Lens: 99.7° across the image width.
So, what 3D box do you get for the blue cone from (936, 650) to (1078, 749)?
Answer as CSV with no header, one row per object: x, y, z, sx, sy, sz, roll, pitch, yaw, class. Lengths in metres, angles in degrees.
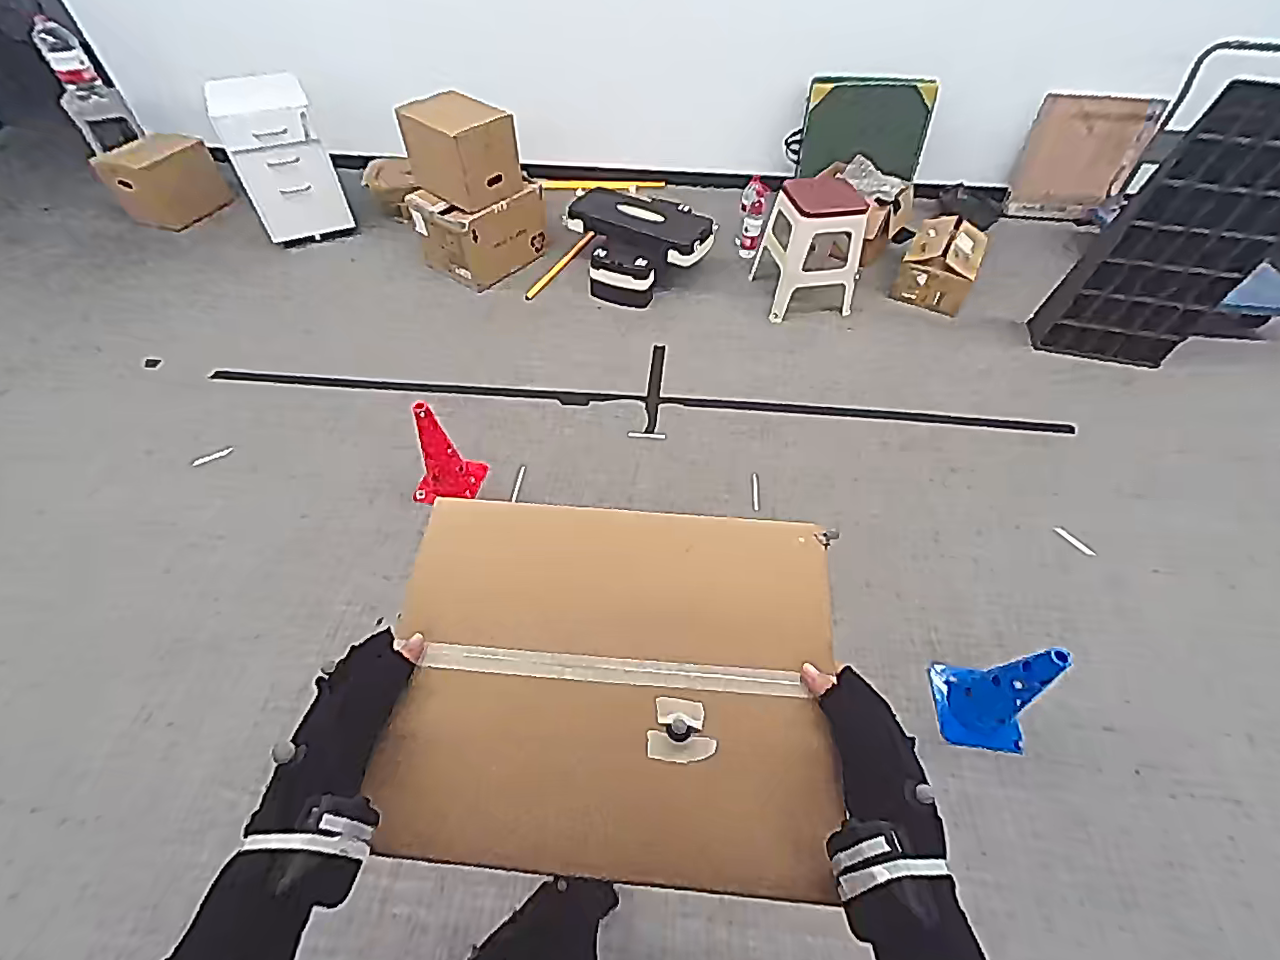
0.880,0.486,1.274,0.192,0.380,0.193,8,52,4,blue cone

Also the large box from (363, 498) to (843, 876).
-0.023,0.234,0.637,0.408,0.320,0.320,4,64,3,large box

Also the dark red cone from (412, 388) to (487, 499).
-0.624,-0.122,1.671,0.201,0.394,0.202,10,52,5,dark red cone

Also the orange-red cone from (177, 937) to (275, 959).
-0.818,0.896,0.885,0.198,0.360,0.199,2,53,2,orange-red cone
